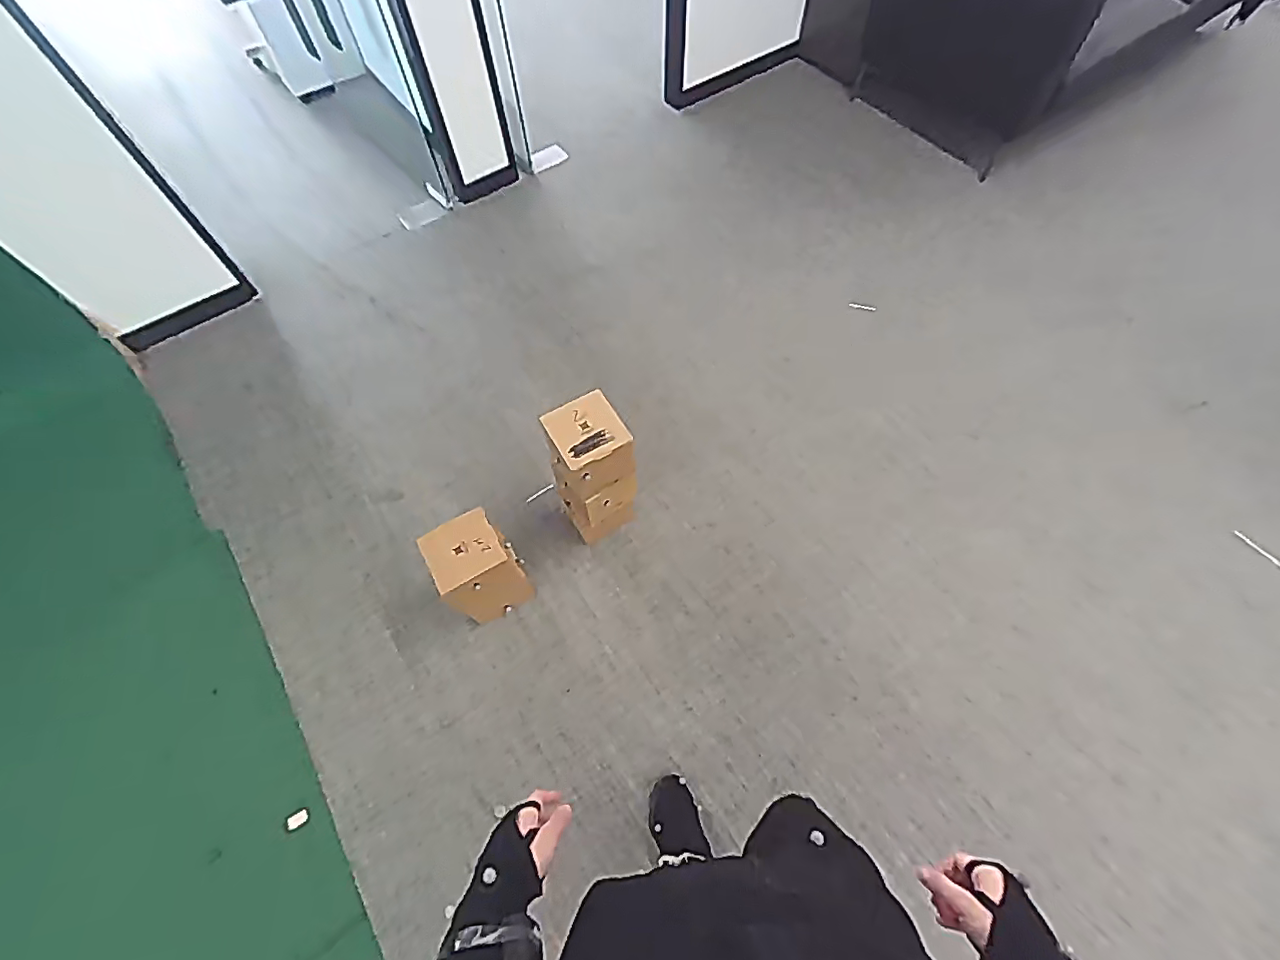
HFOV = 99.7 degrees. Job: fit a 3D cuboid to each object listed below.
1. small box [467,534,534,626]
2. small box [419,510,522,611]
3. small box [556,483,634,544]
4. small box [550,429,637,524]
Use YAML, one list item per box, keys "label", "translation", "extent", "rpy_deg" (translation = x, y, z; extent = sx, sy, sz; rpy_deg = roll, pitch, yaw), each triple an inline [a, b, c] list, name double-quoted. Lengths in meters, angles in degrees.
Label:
- label: "small box"
  translation: [-0.414, 0.284, 1.524]
  extent: [0.179, 0.176, 0.168]
  rpy_deg: [-30, 65, -14]
- label: "small box"
  translation: [-0.425, 0.211, 1.376]
  extent: [0.179, 0.176, 0.168]
  rpy_deg: [-29, 66, -13]
- label: "small box"
  translation: [-0.130, 0.066, 1.629]
  extent: [0.179, 0.176, 0.168]
  rpy_deg: [-31, 66, -15]
- label: "small box"
  translation: [-0.120, -0.001, 1.481]
  extent: [0.168, 0.176, 0.179]
  rpy_deg: [-35, 66, -16]
